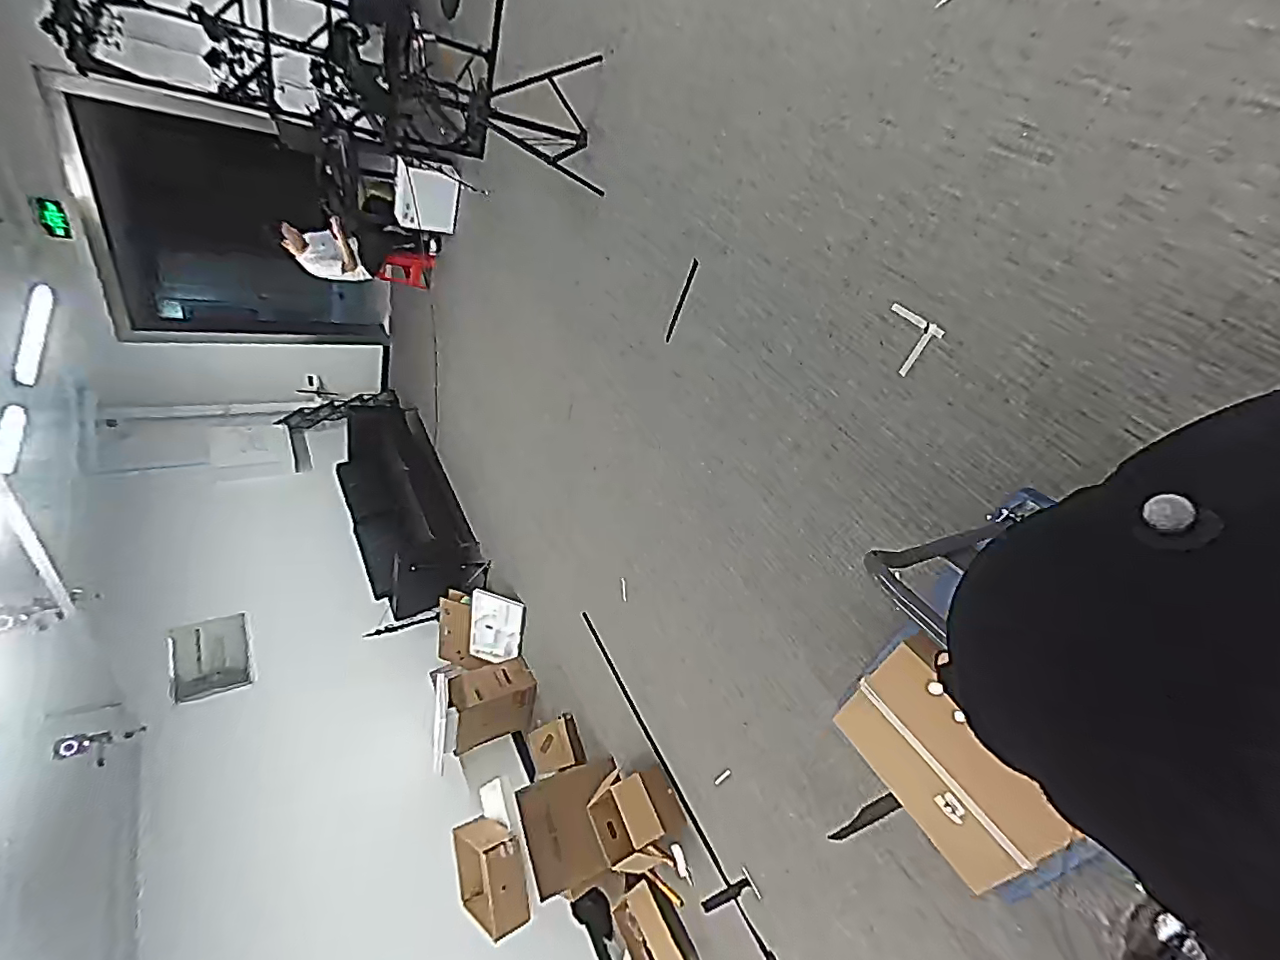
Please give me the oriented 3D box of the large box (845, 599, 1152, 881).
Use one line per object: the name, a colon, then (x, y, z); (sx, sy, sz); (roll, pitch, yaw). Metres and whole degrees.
large box: (0.754, 0.535, 1.184); (0.408, 0.320, 0.320); (50, 135, 37)
